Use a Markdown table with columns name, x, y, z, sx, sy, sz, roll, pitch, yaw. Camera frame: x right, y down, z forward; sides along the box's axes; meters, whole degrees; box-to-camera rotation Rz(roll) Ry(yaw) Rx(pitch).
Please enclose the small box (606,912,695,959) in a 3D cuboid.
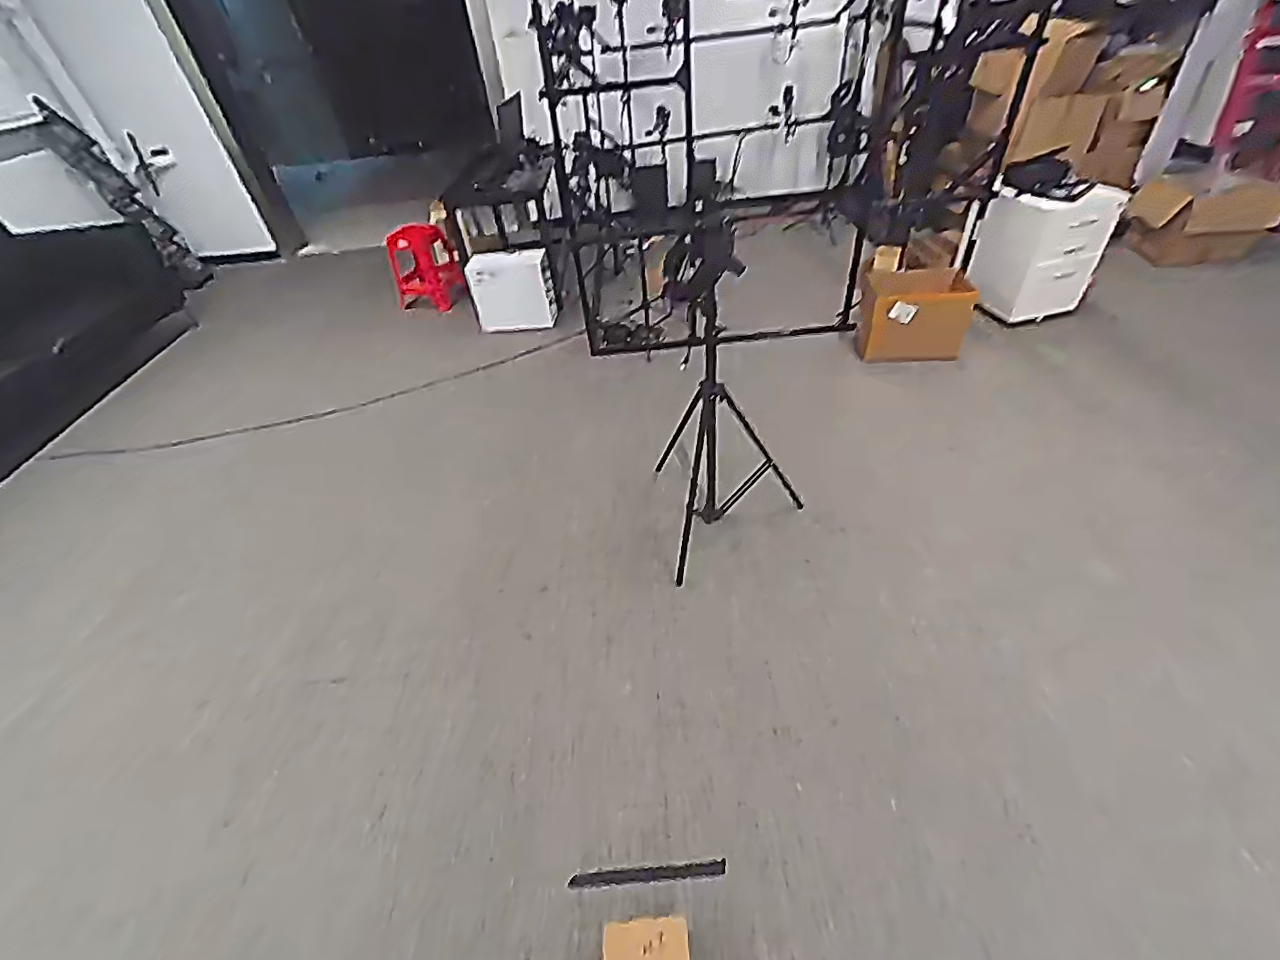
| name | x | y | z | sx | sy | sz | roll | pitch | yaw |
| --- | --- | --- | --- | --- | --- | --- | --- | --- | --- |
| small box | 0.027 | 0.972 | 1.050 | 0.168 | 0.176 | 0.179 | -7 | 42 | 0 |
